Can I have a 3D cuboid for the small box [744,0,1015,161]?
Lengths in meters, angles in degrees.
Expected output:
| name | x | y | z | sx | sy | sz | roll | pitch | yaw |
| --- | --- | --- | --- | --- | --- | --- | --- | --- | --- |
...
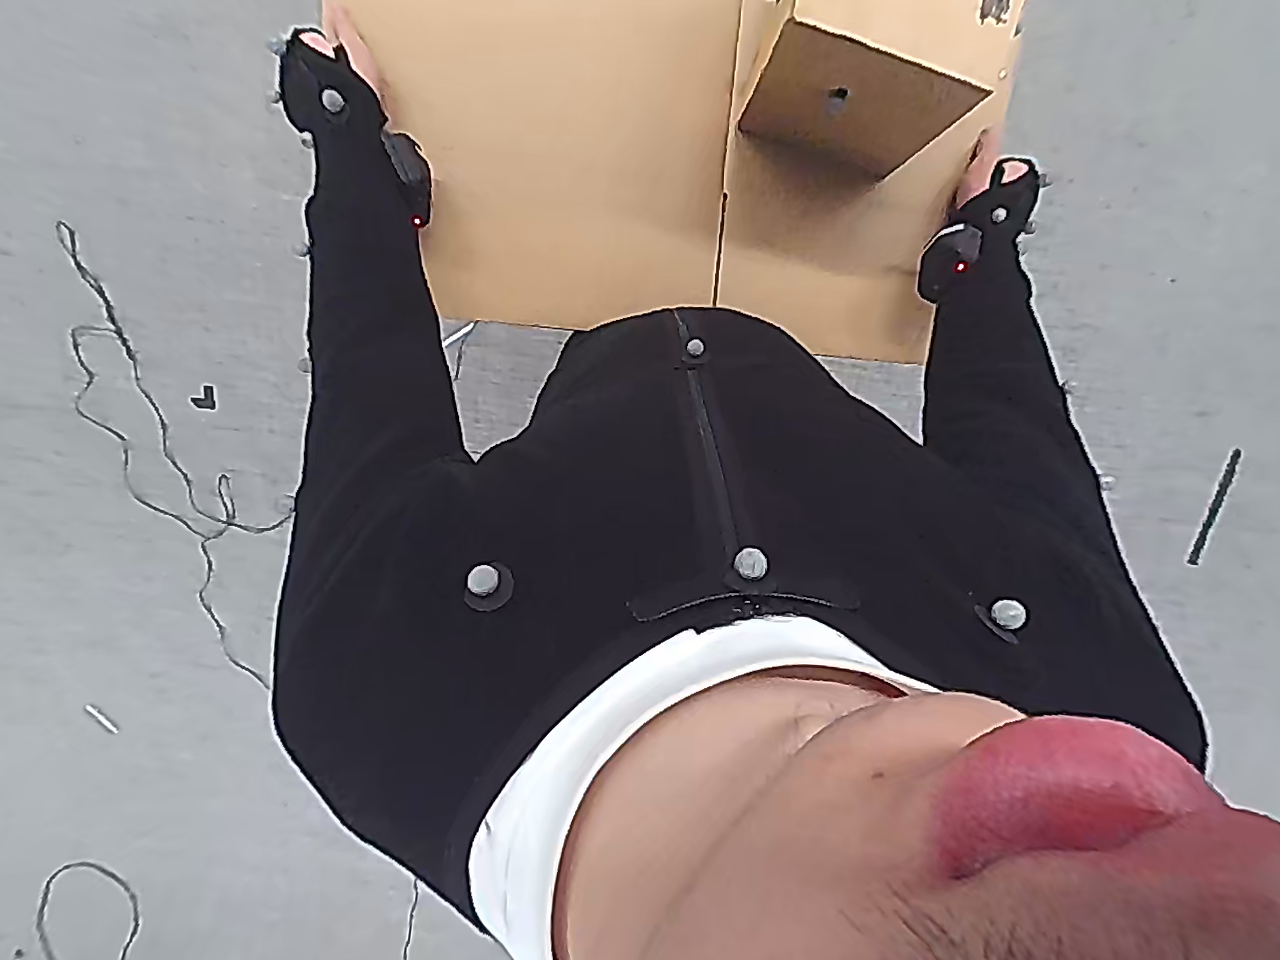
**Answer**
| name | x | y | z | sx | sy | sz | roll | pitch | yaw |
| --- | --- | --- | --- | --- | --- | --- | --- | --- | --- |
| small box | 0.210 | -0.424 | 0.490 | 0.179 | 0.176 | 0.168 | 15 | 99 | -5 |
